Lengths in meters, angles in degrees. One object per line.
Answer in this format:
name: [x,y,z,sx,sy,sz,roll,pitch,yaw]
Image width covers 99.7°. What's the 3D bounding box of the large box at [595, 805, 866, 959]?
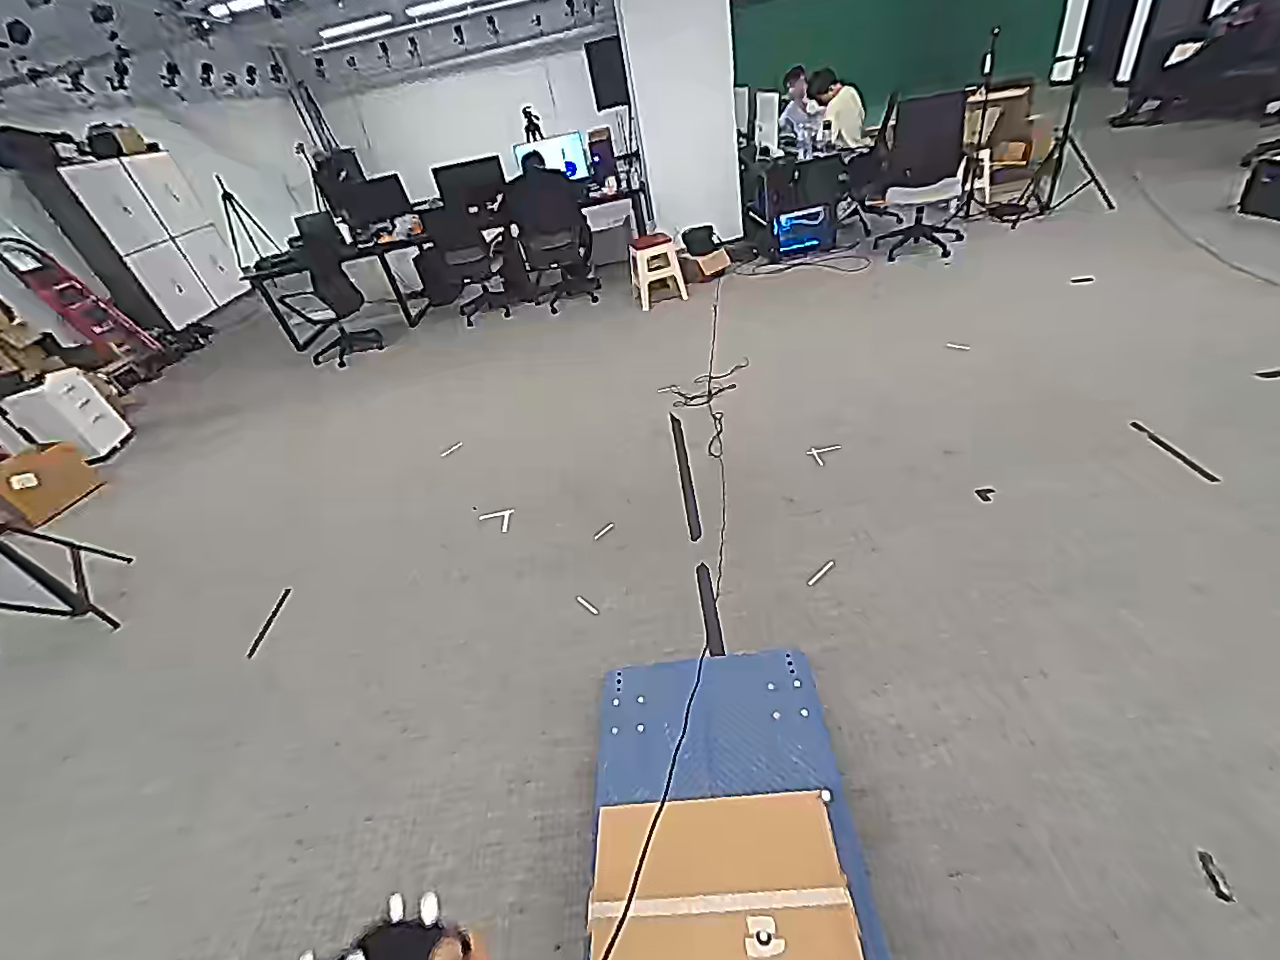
large box: [0.151,0.797,0.913,0.408,0.320,0.320,-8,37,6]
